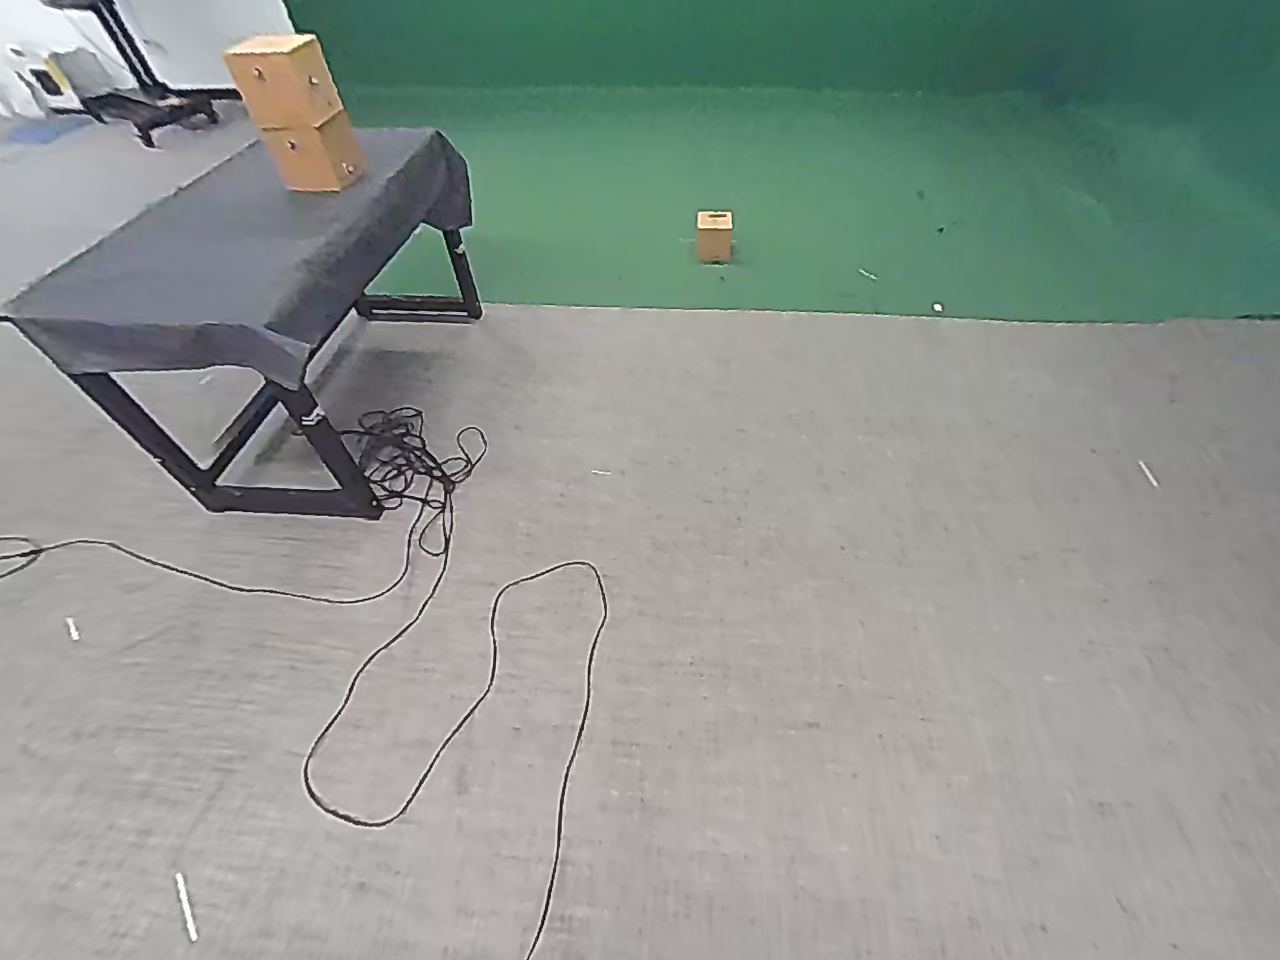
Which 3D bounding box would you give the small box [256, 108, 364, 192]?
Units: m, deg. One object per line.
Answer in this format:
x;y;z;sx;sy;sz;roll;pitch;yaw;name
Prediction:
-0.943;-0.954;1.565;0.179;0.176;0.168;4;51;5;small box

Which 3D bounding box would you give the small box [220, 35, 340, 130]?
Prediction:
-0.942;-1.055;1.437;0.179;0.176;0.168;2;51;6;small box
